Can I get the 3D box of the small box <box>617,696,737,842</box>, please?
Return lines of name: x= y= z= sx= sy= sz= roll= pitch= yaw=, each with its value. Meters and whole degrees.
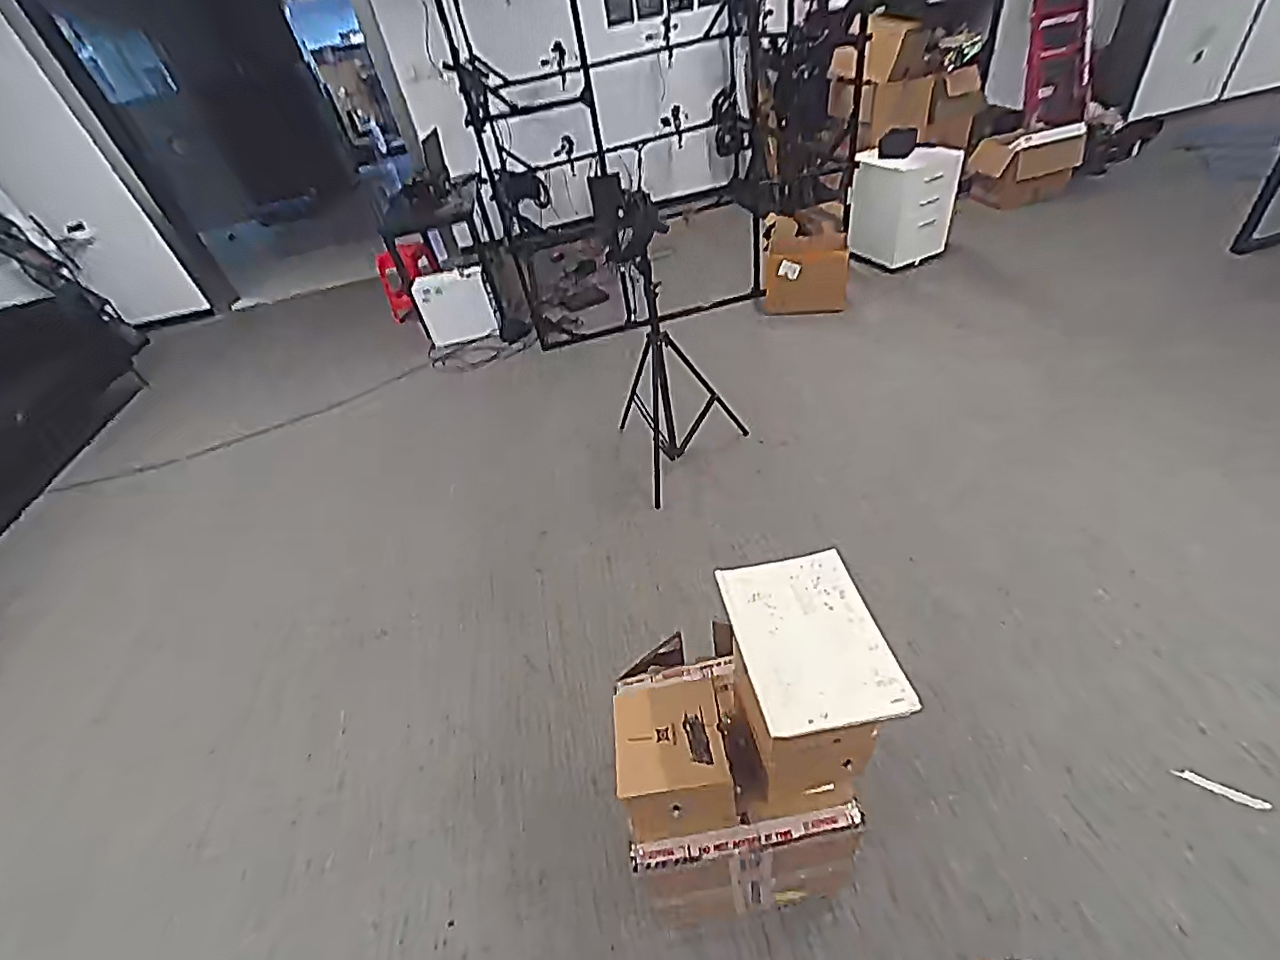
small box: x=0.065 y=0.491 z=0.915 sx=0.179 sy=0.176 sz=0.168 roll=-11 pitch=43 yaw=4

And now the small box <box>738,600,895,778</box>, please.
small box: x=0.251 y=0.316 z=0.822 sx=0.168 sy=0.176 sz=0.179 roll=-12 pitch=41 yaw=-4

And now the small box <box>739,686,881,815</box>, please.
small box: x=0.276 y=0.440 z=0.924 sx=0.179 sy=0.176 sz=0.168 roll=-14 pitch=42 yaw=-5
